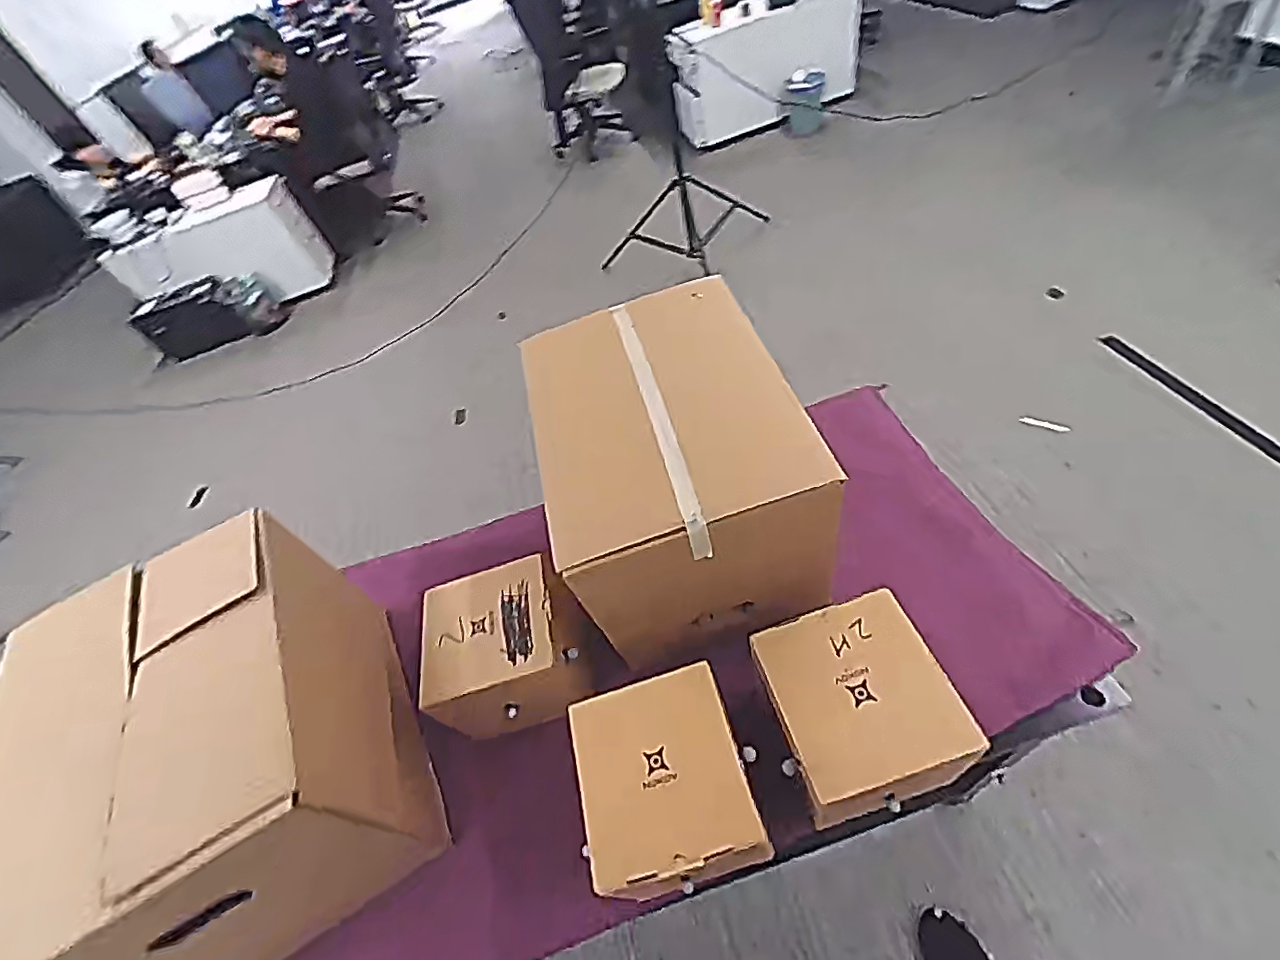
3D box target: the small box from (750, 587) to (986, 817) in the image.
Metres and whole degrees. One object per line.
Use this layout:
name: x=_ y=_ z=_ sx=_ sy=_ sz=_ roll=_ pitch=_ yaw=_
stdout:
small box: x=0.237 y=0.255 z=0.604 sx=0.168 sy=0.176 sz=0.179 roll=-19 pitch=48 yaw=0
